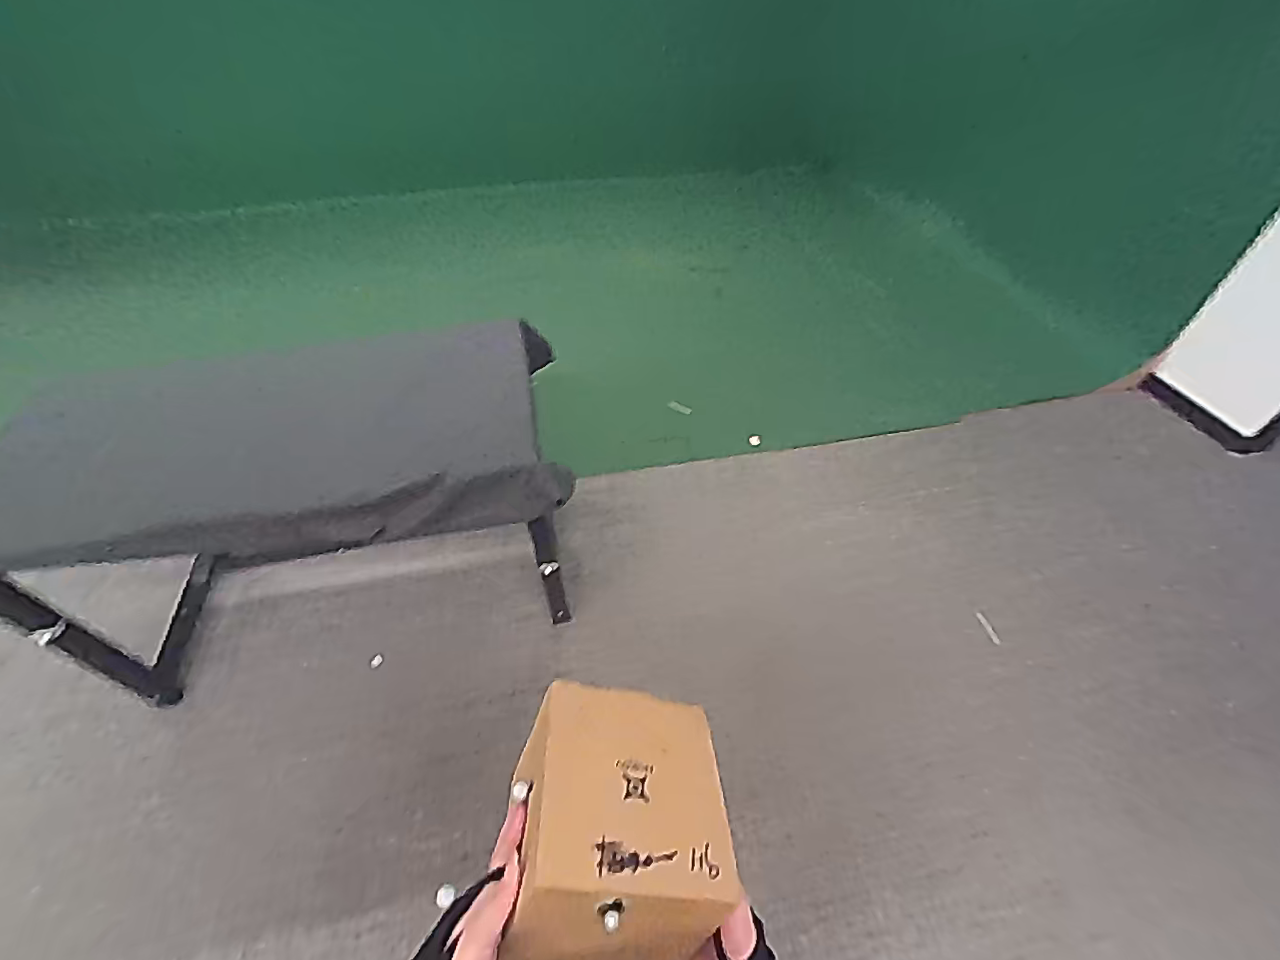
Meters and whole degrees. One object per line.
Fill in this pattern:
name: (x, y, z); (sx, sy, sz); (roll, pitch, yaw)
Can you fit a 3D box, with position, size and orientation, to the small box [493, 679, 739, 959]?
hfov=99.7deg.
small box: (-0.032, 0.324, 0.507); (0.168, 0.176, 0.179); (14, 28, -13)
